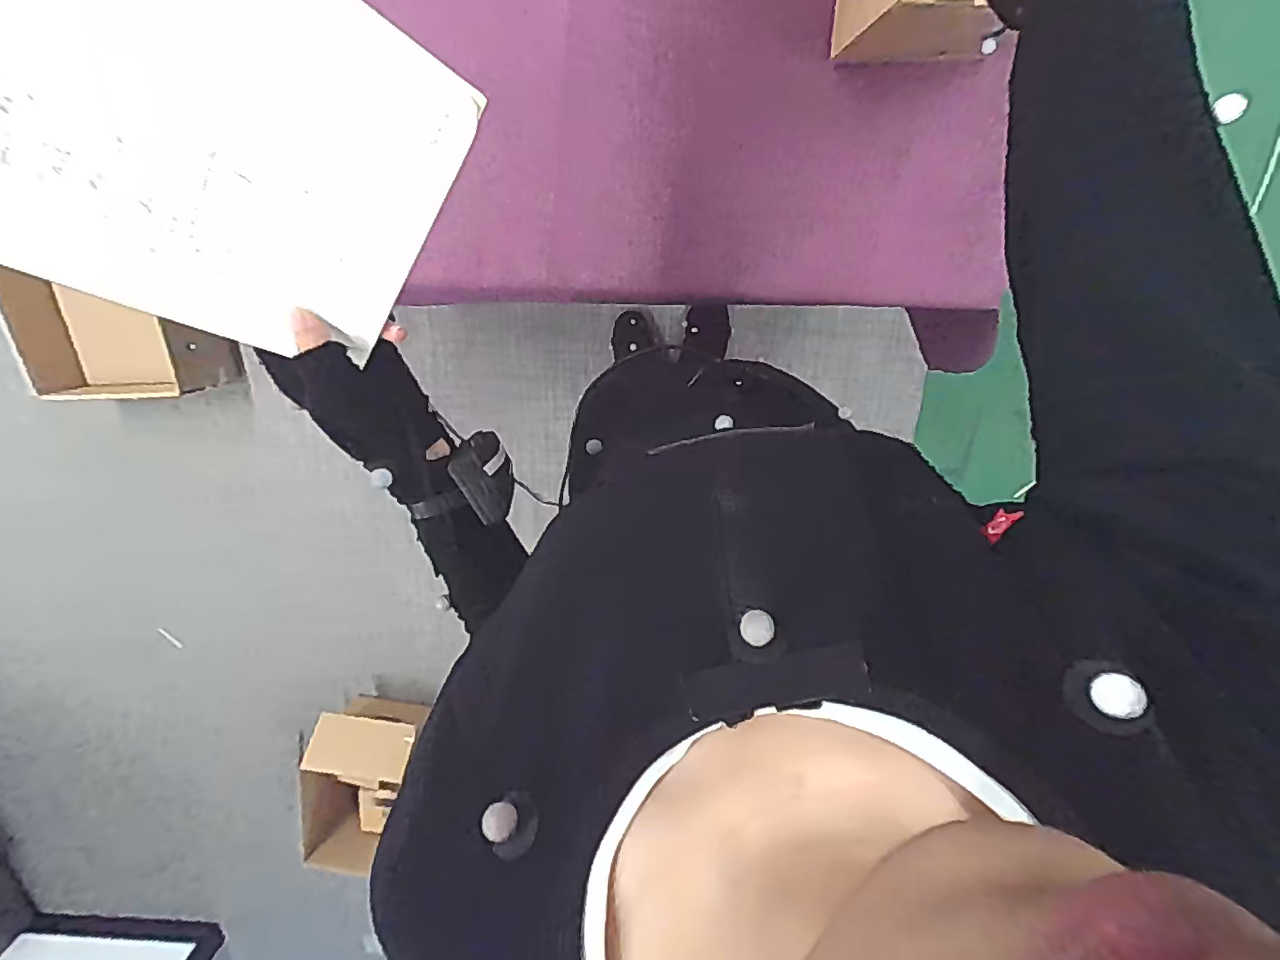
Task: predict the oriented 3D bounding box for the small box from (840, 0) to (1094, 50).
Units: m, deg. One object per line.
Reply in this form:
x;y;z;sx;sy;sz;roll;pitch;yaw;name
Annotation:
0.279;-0.482;0.447;0.168;0.176;0.179;0;116;1;small box
